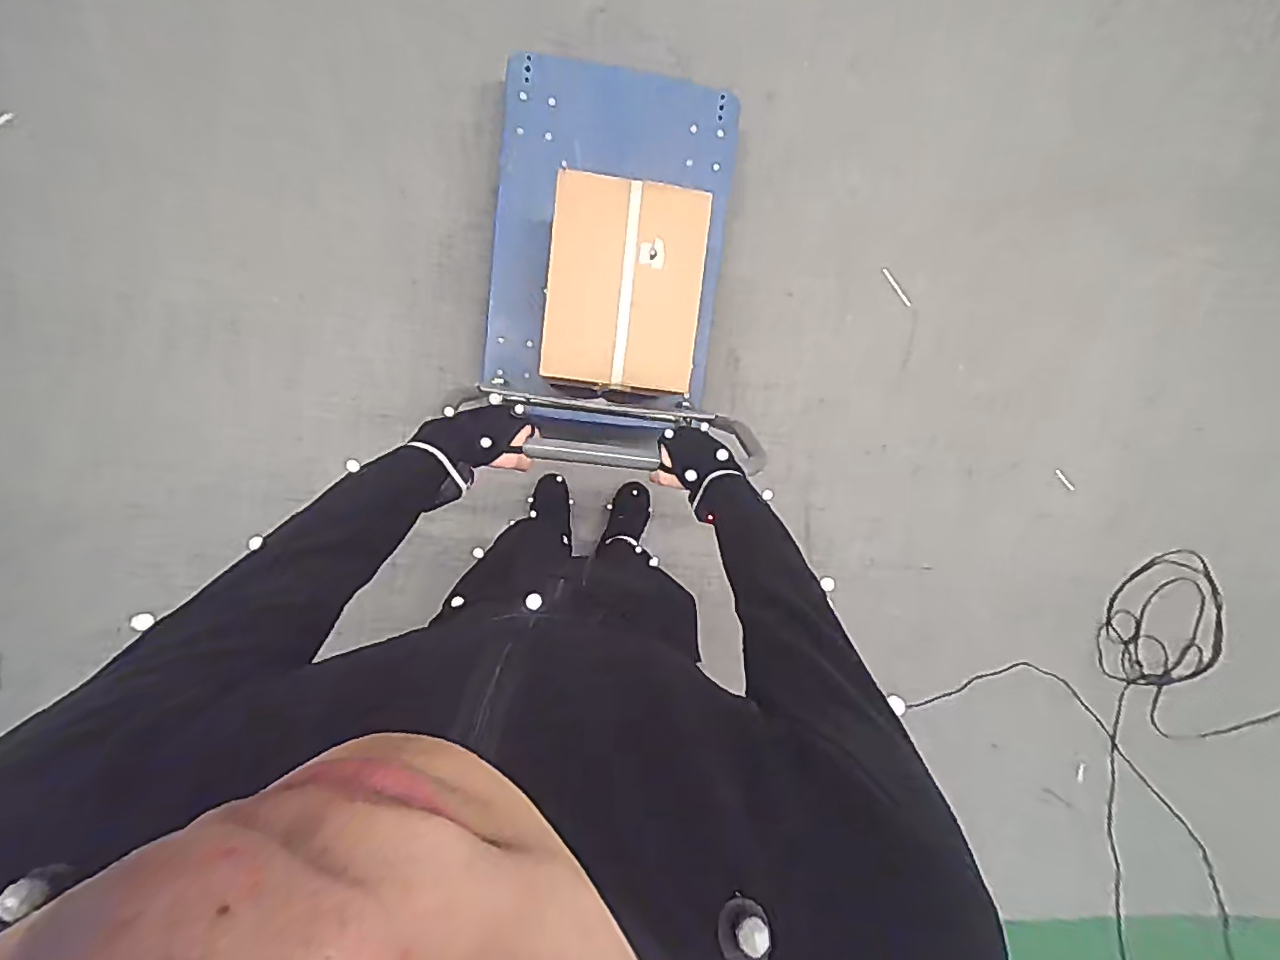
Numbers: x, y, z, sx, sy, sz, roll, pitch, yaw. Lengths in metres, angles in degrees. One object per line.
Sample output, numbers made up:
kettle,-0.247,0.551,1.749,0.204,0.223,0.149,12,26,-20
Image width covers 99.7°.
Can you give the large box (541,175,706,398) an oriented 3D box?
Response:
large box,-0.050,-0.407,1.245,0.320,0.320,0.408,5,95,-8
